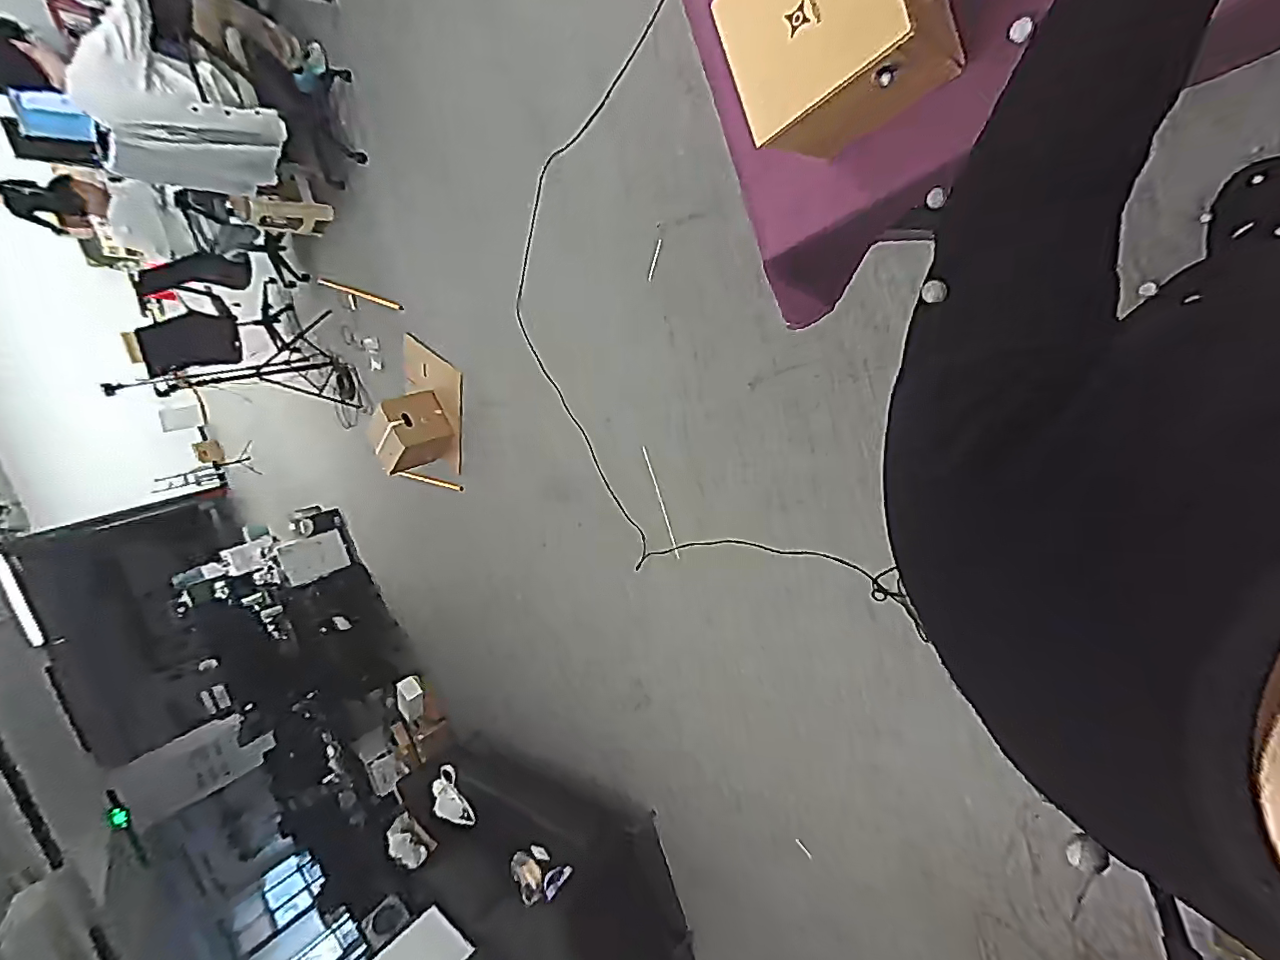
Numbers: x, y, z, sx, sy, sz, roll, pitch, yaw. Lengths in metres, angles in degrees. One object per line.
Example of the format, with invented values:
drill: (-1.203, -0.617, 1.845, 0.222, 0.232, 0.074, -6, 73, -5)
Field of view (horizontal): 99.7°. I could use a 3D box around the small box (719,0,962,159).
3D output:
small box: (0.224, -0.491, 0.604, 0.179, 0.176, 0.168, -15, 95, 47)
